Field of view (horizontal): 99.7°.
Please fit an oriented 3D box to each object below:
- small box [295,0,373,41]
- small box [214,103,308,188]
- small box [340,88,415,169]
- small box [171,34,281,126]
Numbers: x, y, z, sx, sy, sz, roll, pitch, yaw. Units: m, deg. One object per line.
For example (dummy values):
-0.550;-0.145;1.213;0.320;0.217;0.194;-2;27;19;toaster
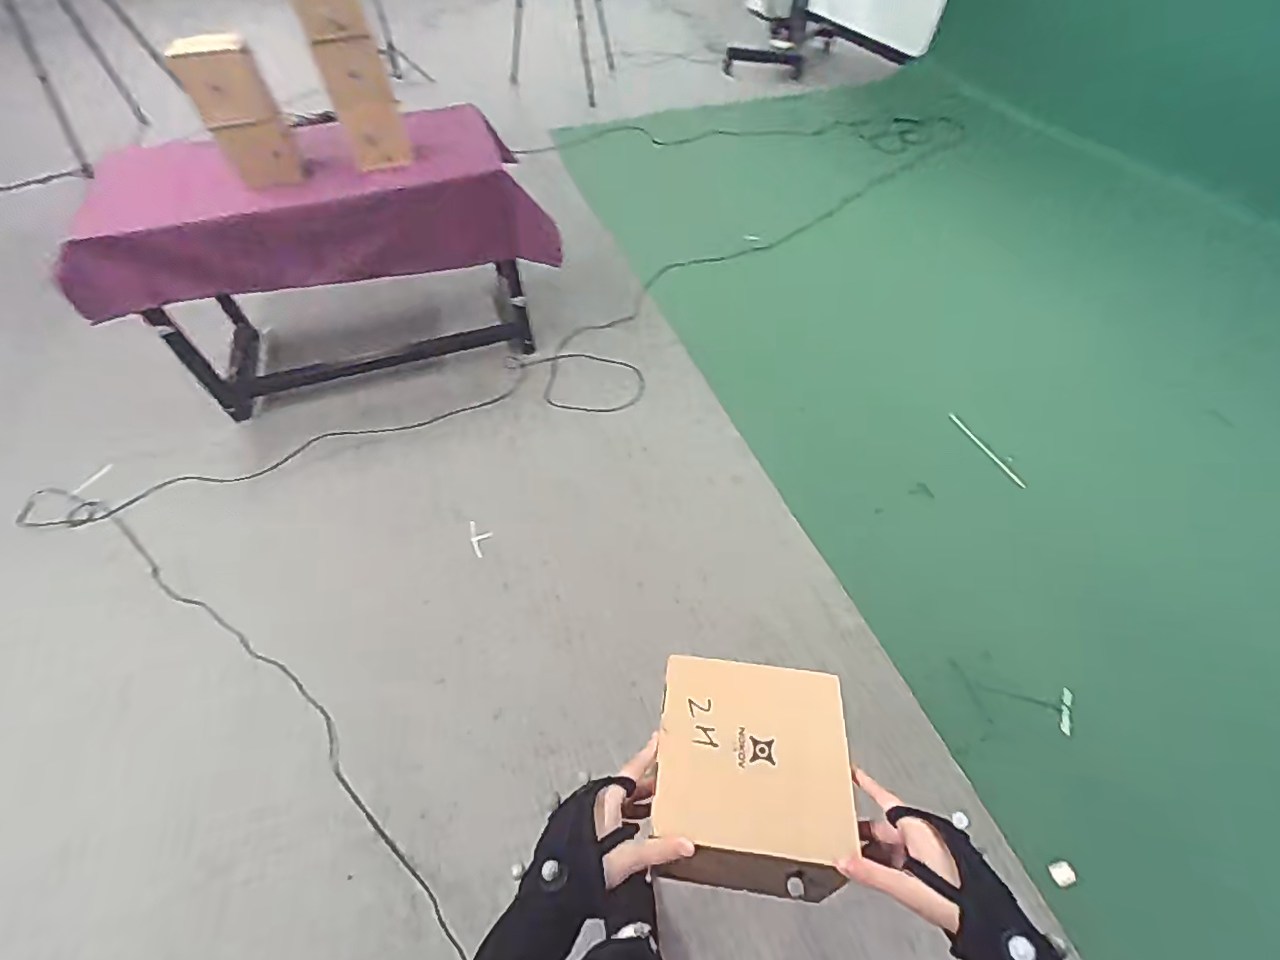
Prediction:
-0.830;-1.300;1.442;0.168;0.176;0.179;-16;54;-10;small box
-1.141;-1.015;1.643;0.179;0.176;0.168;-16;53;-11;small box
-0.823;-1.102;1.704;0.168;0.176;0.179;-15;53;-10;small box
-1.146;-1.113;1.511;0.179;0.176;0.168;-15;53;-11;small box
